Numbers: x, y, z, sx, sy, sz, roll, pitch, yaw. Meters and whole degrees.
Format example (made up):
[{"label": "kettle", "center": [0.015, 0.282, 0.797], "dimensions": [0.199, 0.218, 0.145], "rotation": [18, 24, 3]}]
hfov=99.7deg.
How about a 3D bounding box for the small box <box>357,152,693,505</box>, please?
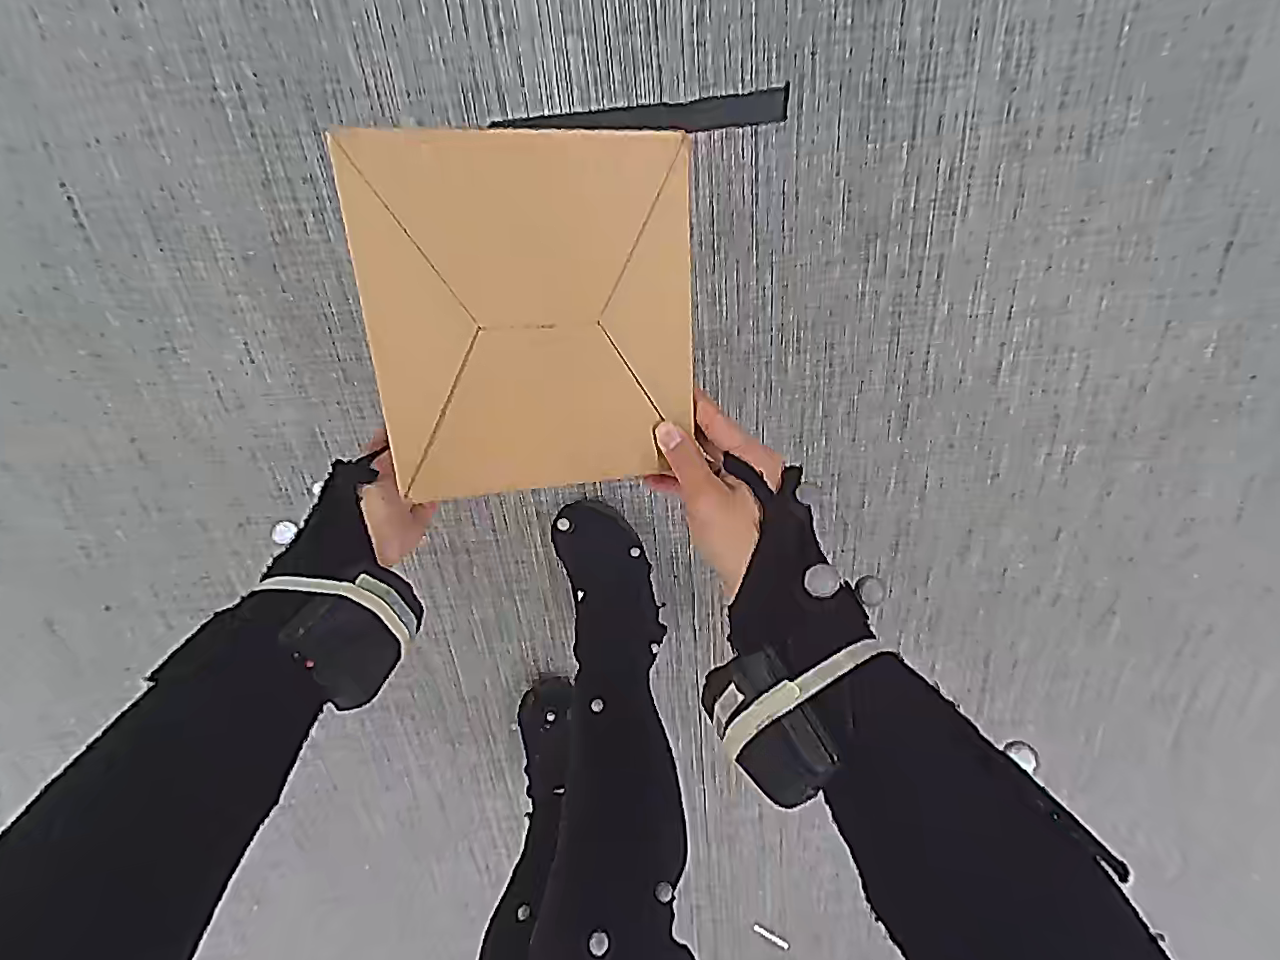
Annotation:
[{"label": "small box", "center": [-0.069, -0.100, 0.354], "dimensions": [0.168, 0.176, 0.179], "rotation": [-7, 108, -13]}]
